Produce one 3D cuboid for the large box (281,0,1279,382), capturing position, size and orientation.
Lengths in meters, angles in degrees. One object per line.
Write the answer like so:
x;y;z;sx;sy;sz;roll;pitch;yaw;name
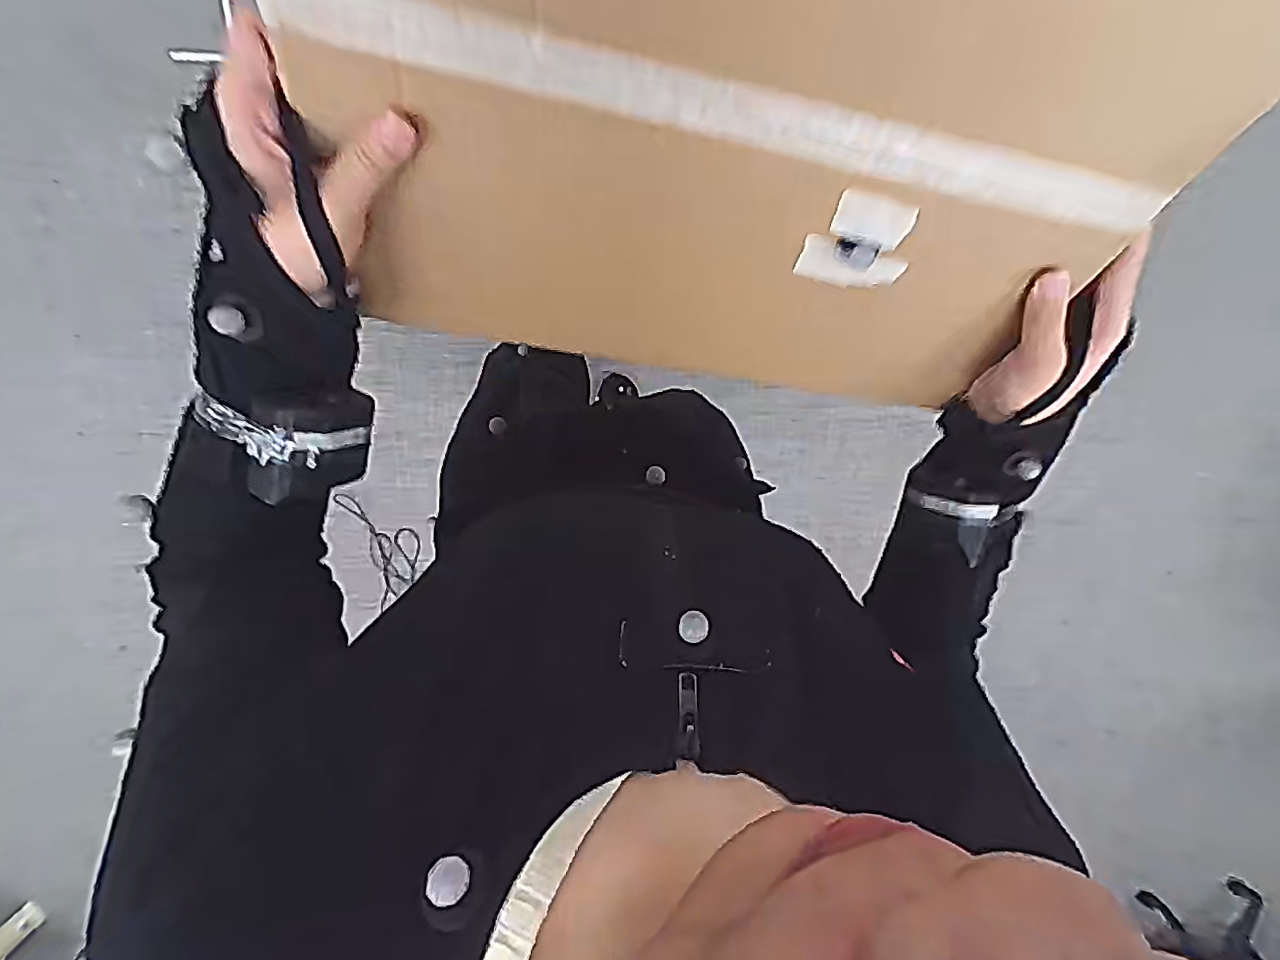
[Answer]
0.056;-0.293;0.311;0.408;0.320;0.320;5;147;-10;large box
